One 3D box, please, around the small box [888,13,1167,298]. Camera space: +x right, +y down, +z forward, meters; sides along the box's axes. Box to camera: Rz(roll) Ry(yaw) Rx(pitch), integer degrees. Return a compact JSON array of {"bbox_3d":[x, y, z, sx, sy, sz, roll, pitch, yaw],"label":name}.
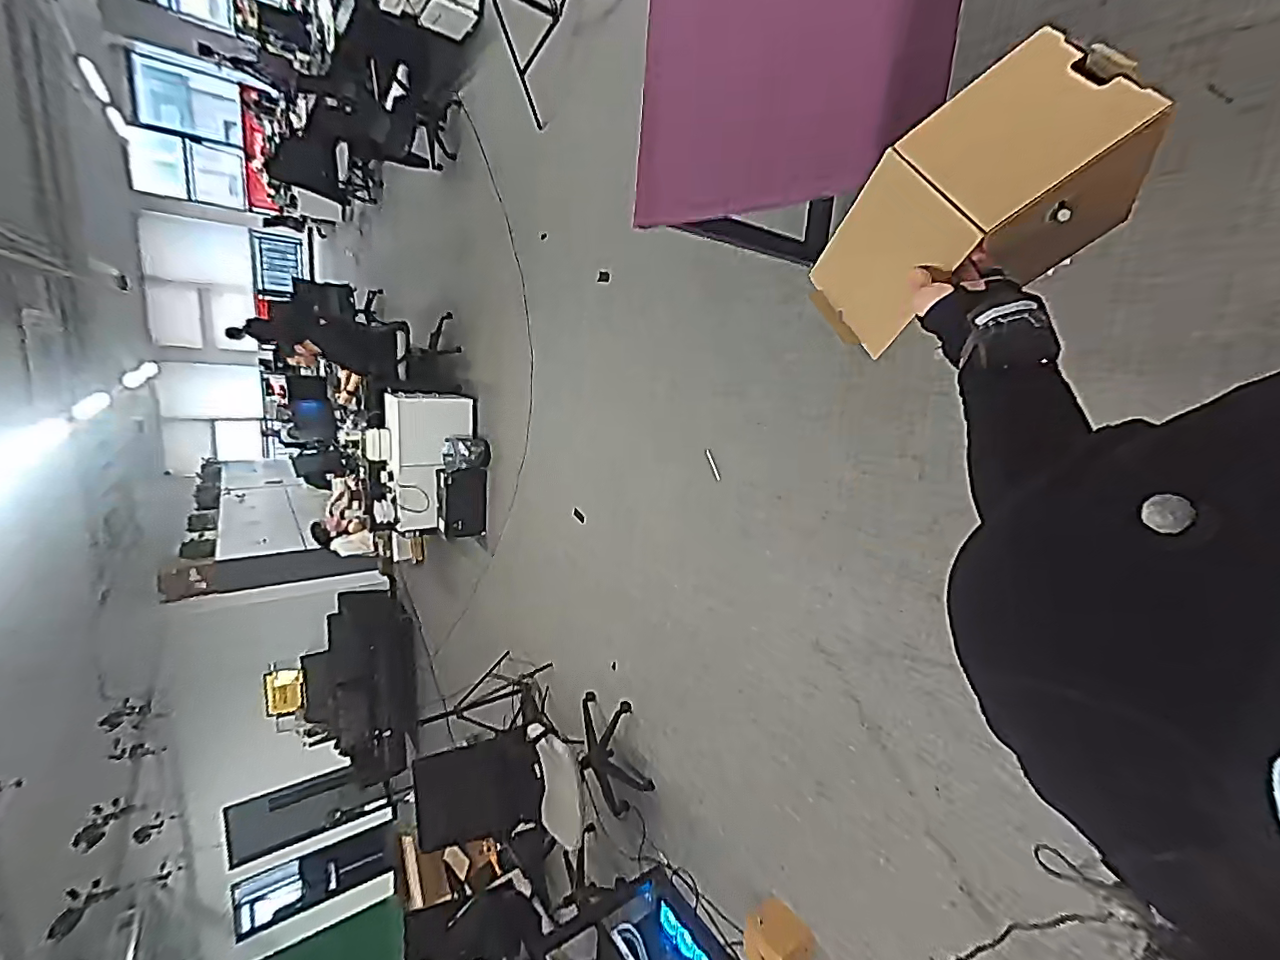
[{"bbox_3d":[0.411,-0.342,0.604,0.179,0.176,0.168,-34,62,19],"label":"small box"}]
